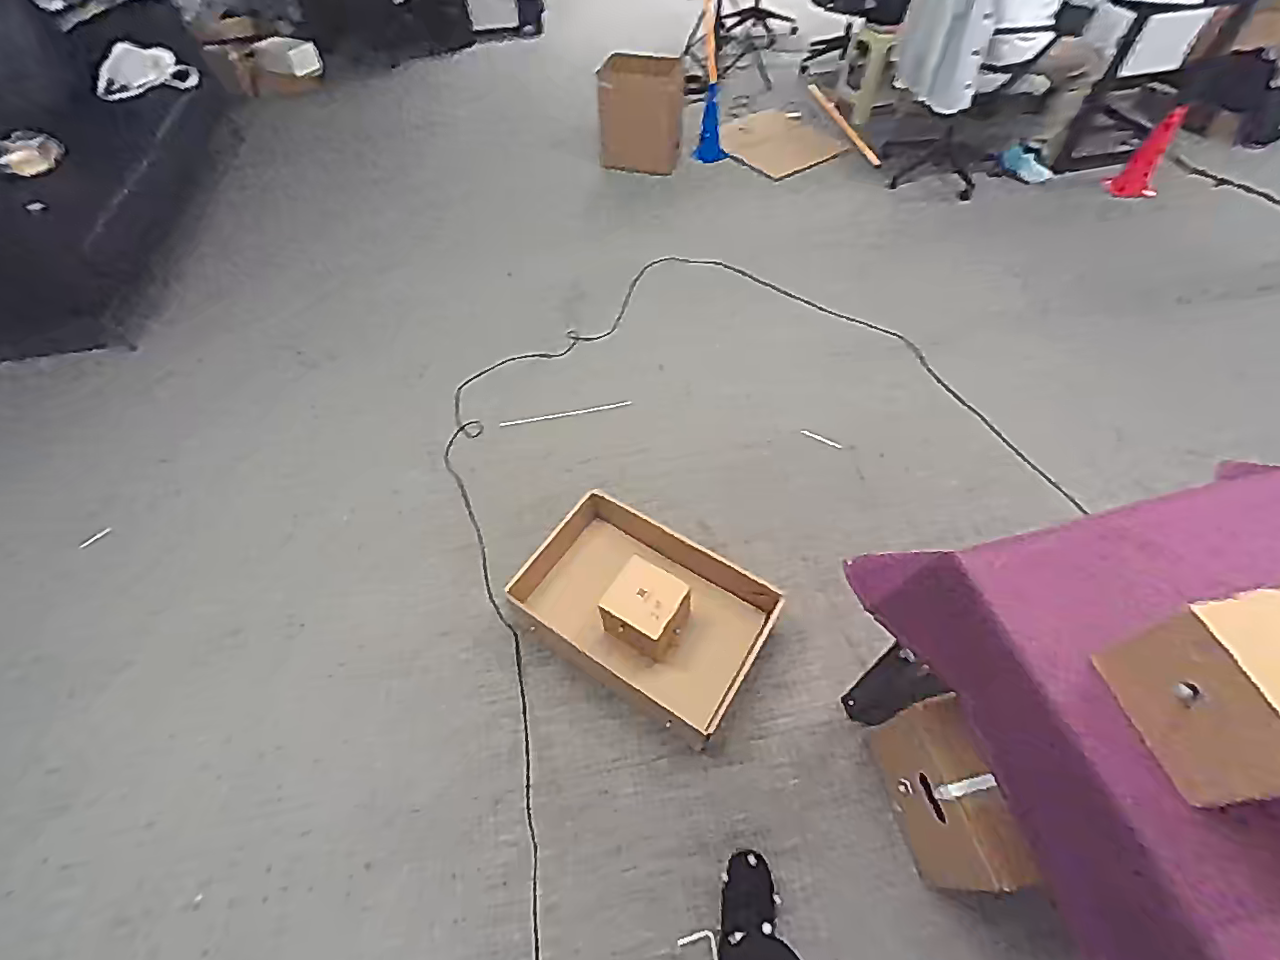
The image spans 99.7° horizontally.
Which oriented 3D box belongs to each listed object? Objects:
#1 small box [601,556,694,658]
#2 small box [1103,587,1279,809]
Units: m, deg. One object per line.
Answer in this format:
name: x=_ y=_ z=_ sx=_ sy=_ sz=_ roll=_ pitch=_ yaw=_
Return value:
small box: x=0.023 y=0.333 z=1.397 sx=0.179 sy=0.176 sz=0.168 roll=27 pitch=61 yaw=21
small box: x=0.678 y=0.237 z=0.591 sx=0.168 sy=0.176 sz=0.179 roll=-10 pitch=53 yaw=-4
